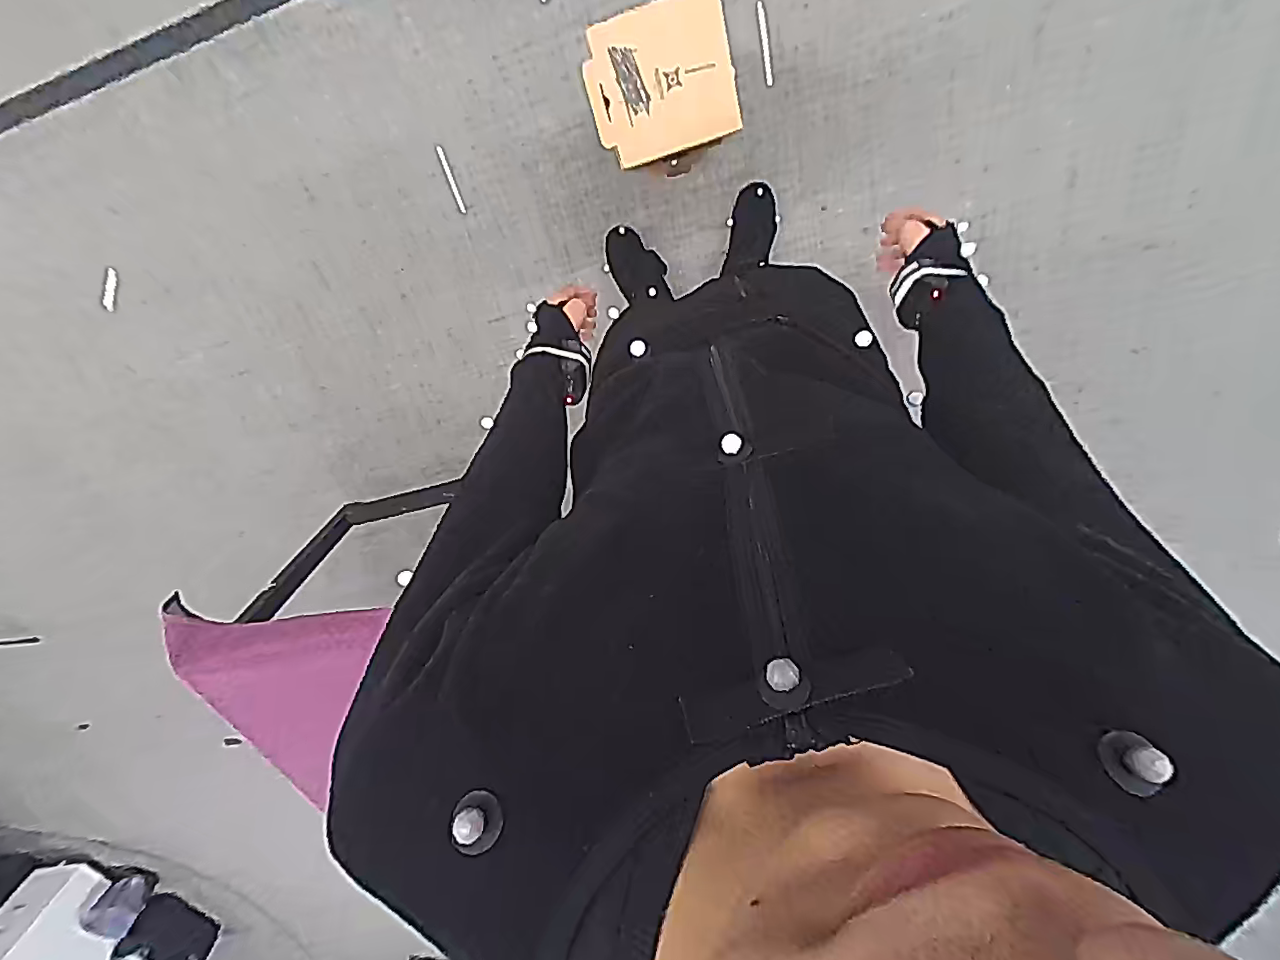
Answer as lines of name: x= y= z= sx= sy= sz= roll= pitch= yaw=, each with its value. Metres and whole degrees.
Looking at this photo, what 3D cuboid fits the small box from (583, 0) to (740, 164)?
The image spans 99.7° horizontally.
small box: x=0.034 y=-0.567 z=0.775 sx=0.179 sy=0.176 sz=0.168 roll=-14 pitch=119 yaw=9
